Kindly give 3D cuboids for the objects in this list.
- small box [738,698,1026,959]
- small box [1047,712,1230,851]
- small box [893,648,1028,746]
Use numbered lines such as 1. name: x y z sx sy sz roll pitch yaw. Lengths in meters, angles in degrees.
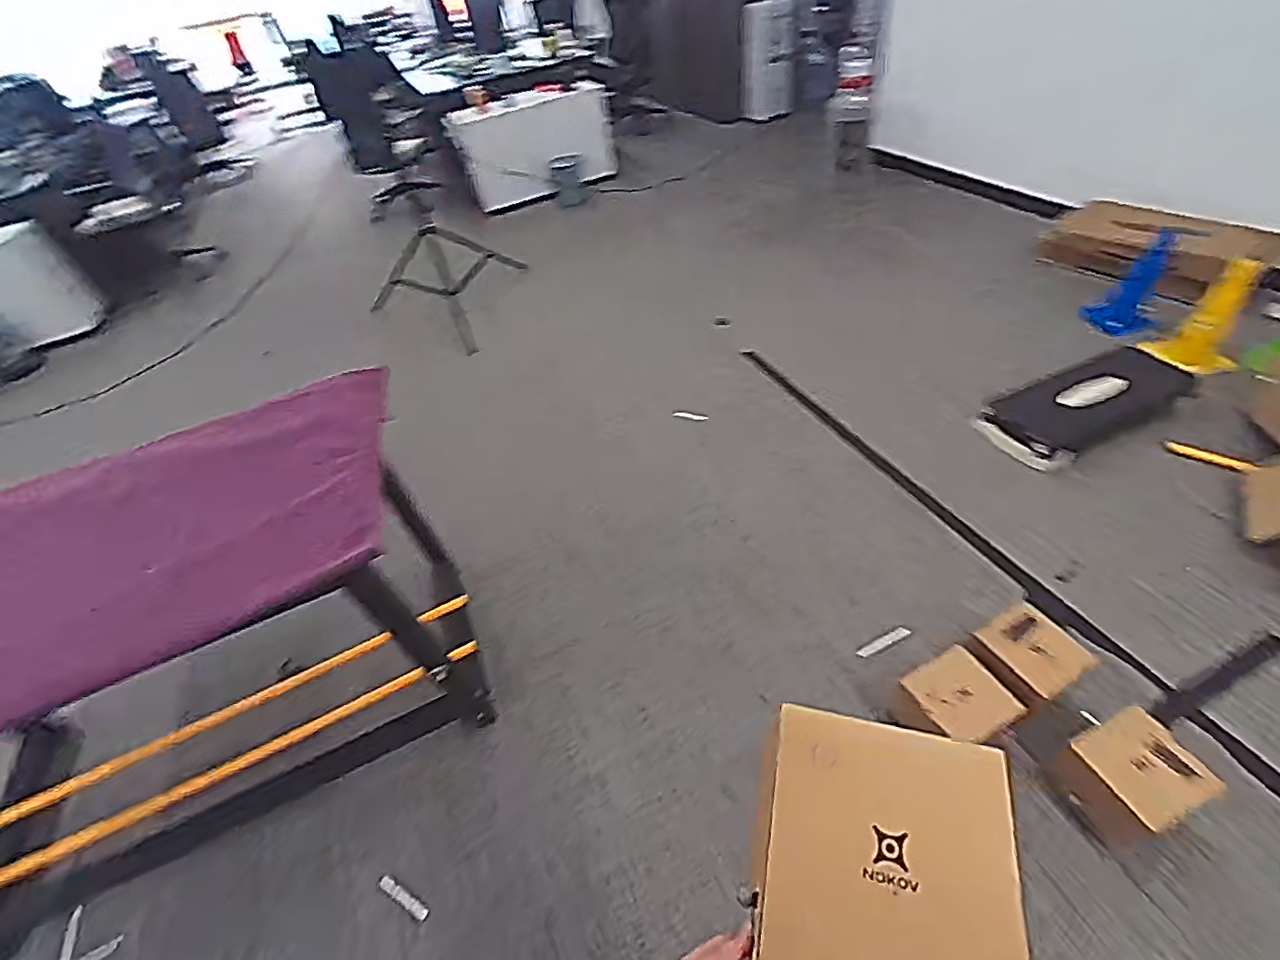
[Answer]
1. small box: 0.173 0.300 0.435 0.168 0.176 0.179 7 57 11
2. small box: 0.963 0.595 1.066 0.179 0.176 0.168 -22 47 -9
3. small box: 0.694 0.511 1.194 0.179 0.176 0.168 -24 47 -12
